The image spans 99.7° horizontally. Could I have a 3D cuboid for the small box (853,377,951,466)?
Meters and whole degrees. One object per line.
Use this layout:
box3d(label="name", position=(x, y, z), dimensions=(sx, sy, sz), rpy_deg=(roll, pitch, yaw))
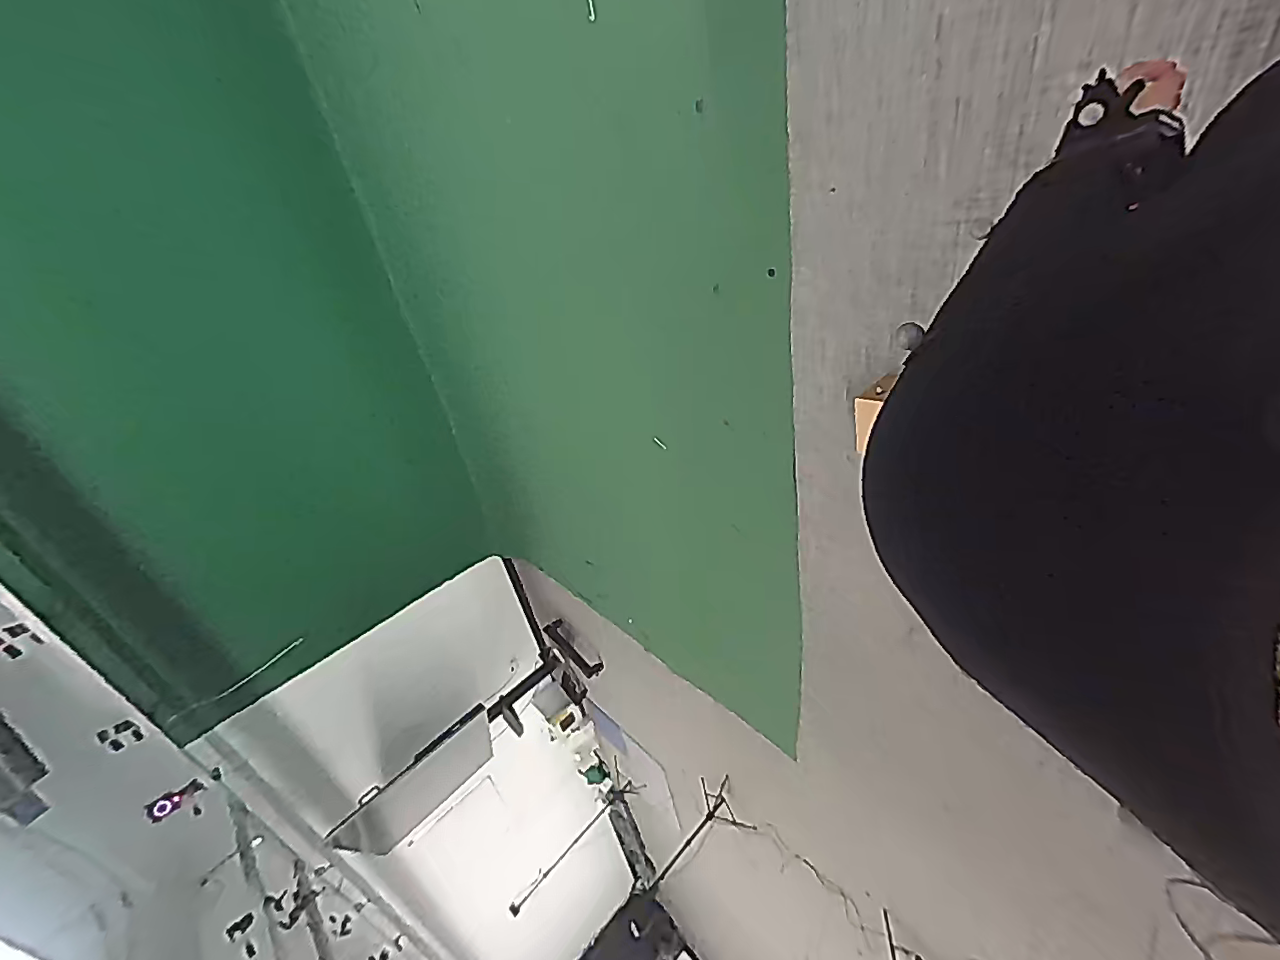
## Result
box3d(label="small box", position=(0.678, -0.160, 1.406), dimensions=(0.179, 0.176, 0.168), rpy_deg=(18, 132, 46))
